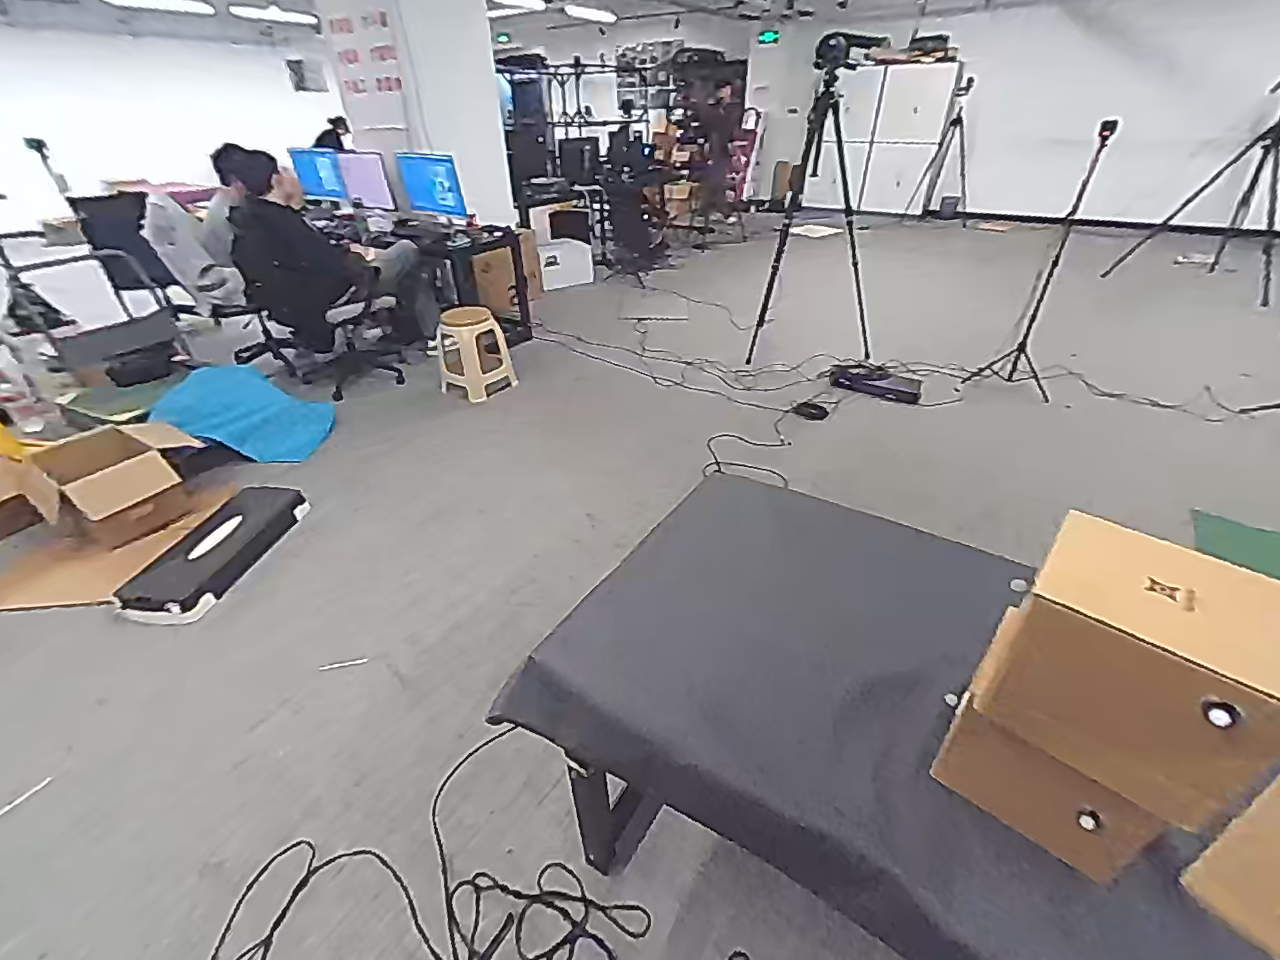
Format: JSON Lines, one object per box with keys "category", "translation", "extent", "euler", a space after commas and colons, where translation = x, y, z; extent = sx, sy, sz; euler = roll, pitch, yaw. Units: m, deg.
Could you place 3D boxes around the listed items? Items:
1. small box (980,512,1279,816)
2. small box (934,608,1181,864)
{"category": "small box", "translation": [0.456, 0.163, 0.508], "extent": [0.179, 0.176, 0.168], "euler": [28, 42, 34]}
{"category": "small box", "translation": [0.469, 0.288, 0.613], "extent": [0.179, 0.176, 0.168], "euler": [25, 41, 34]}
